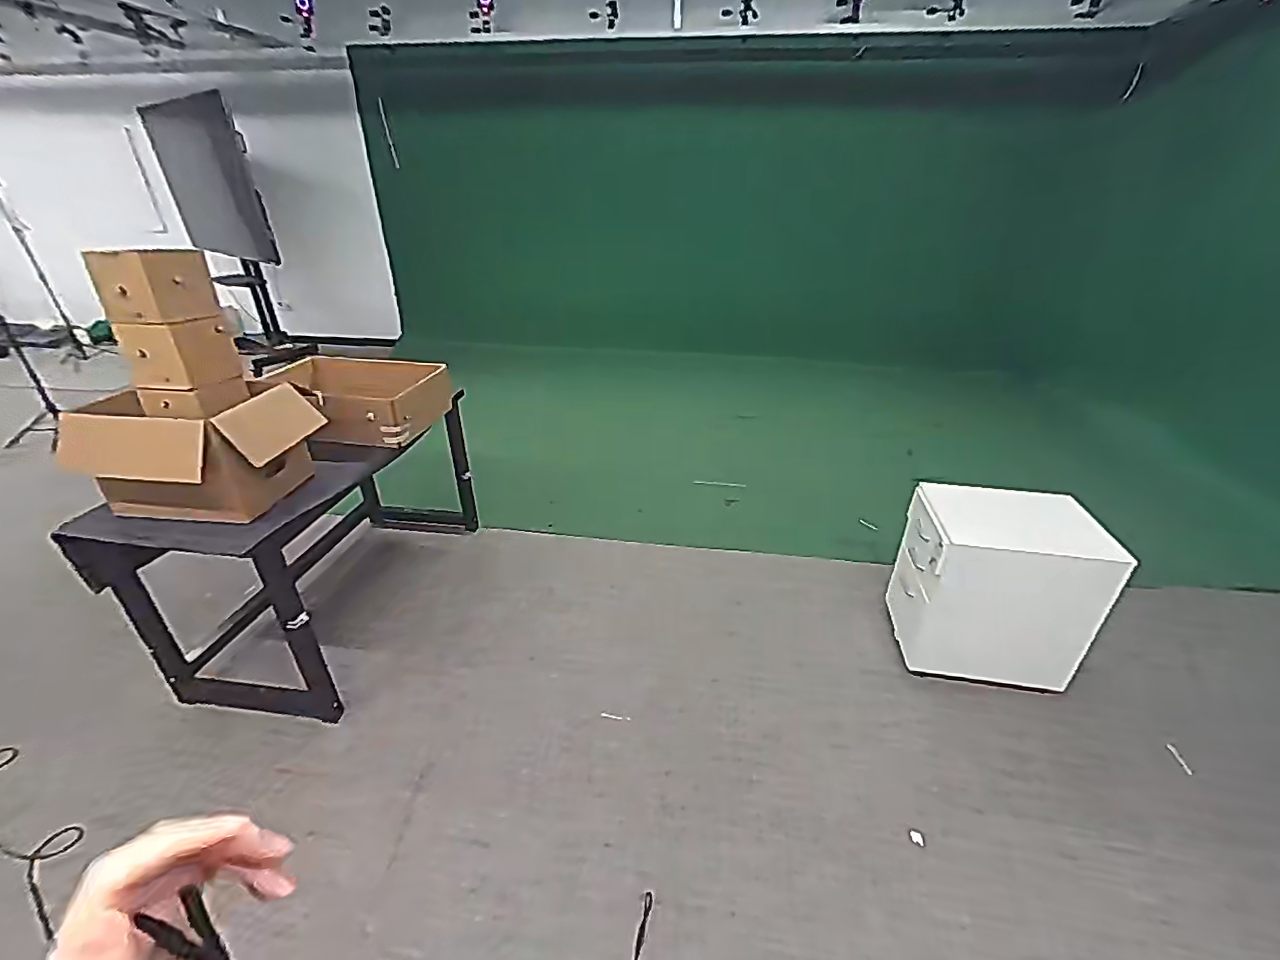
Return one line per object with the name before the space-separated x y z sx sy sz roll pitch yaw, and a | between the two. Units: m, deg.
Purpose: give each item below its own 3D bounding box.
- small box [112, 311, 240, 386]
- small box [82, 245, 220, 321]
small box | -1.220 -0.351 1.439 0.168 0.176 0.179 4 25 8
small box | -1.224 -0.500 1.370 0.168 0.176 0.179 4 25 9
